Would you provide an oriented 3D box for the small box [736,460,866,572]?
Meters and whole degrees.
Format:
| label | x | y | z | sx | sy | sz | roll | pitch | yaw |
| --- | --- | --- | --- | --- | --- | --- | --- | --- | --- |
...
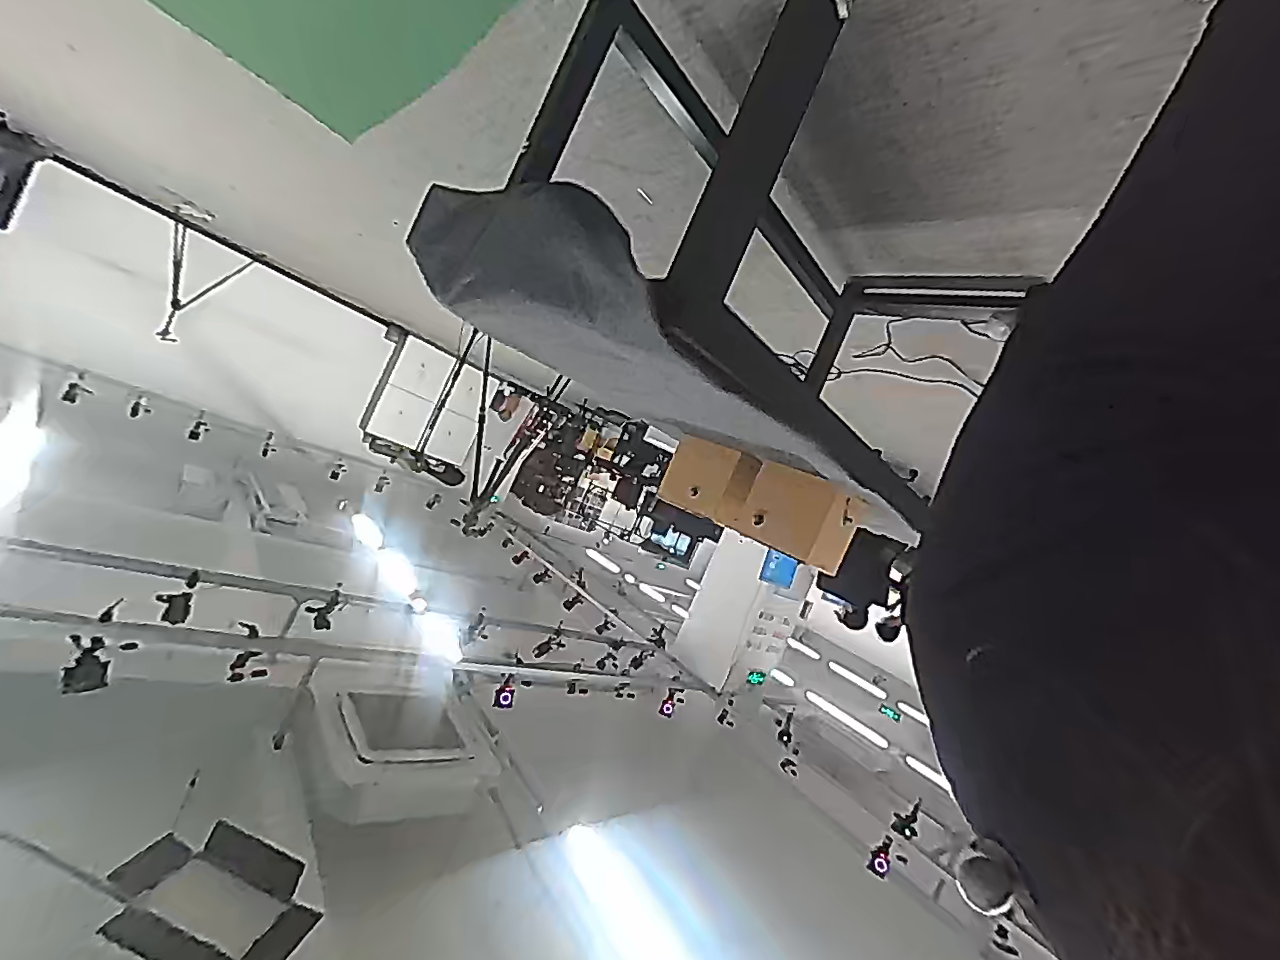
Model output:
| label | x | y | z | sx | sy | sz | roll | pitch | yaw |
| --- | --- | --- | --- | --- | --- | --- | --- | --- | --- |
| small box | 0.339 | 0.070 | 1.131 | 0.179 | 0.176 | 0.168 | 24 | 180 | 42 |

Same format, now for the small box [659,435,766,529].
| label | x | y | z | sx | sy | sz | roll | pitch | yaw |
| --- | --- | --- | --- | --- | --- | --- | --- | --- | --- |
| small box | 0.181 | 0.004 | 1.284 | 0.179 | 0.176 | 0.168 | 23 | 179 | 42 |
